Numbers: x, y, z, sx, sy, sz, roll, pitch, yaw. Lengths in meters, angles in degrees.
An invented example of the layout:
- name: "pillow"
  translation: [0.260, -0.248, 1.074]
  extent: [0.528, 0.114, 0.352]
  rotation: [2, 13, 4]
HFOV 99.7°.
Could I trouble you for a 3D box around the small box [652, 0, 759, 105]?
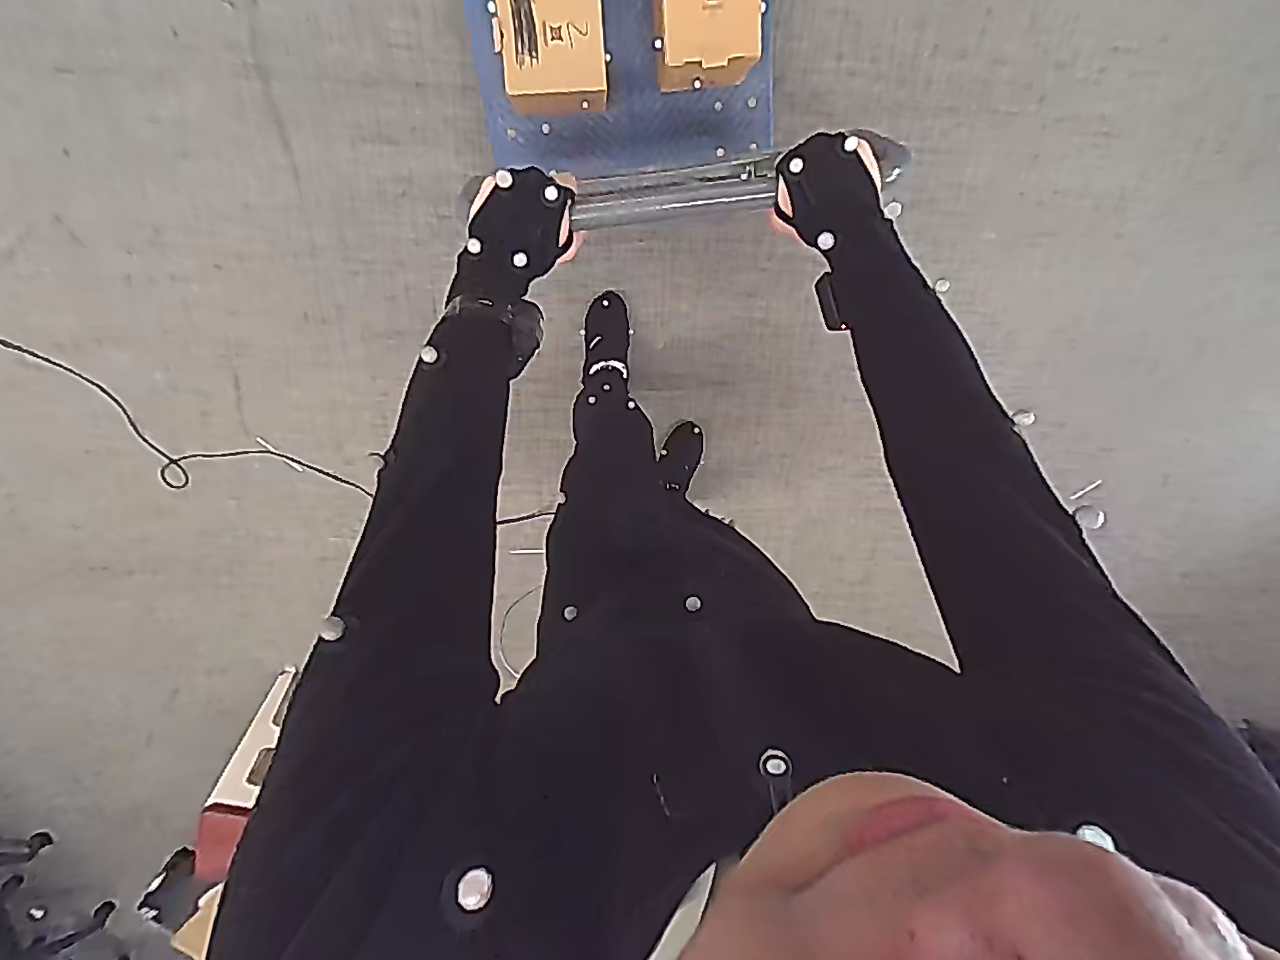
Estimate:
- name: "small box"
  translation: [0.116, -0.821, 0.993]
  extent: [0.168, 0.176, 0.179]
  rotation: [-7, 113, -1]
